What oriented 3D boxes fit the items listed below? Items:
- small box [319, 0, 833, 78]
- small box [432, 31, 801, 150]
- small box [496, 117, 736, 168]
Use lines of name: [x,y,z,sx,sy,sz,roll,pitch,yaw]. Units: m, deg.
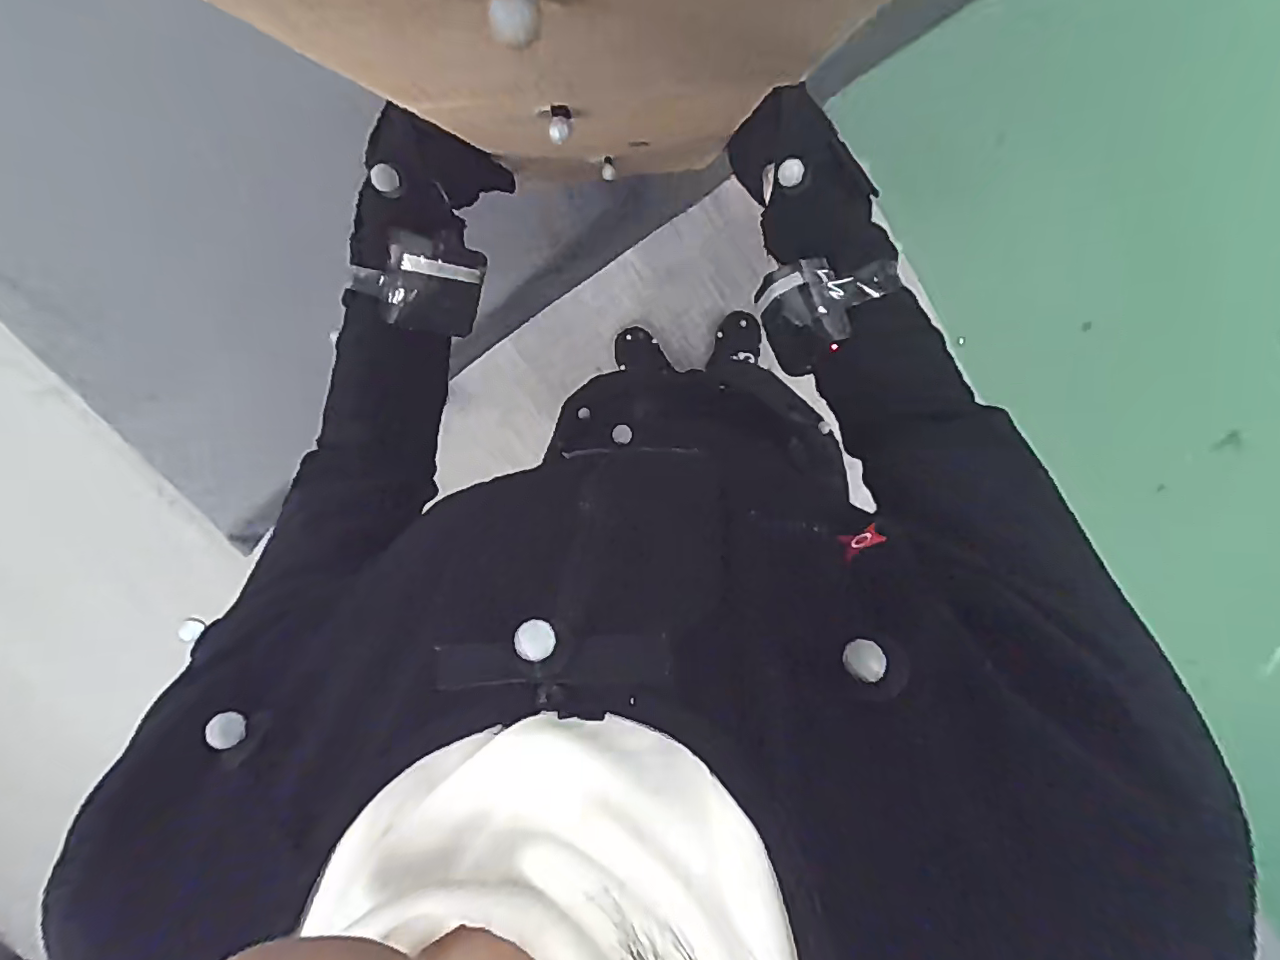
small box: [-0.019,-0.215,0.127,0.179,0.176,0.168,-2,115,1]
small box: [-0.020,-0.289,0.277,0.168,0.176,0.179,-6,115,2]
small box: [-0.022,-0.353,0.425,0.179,0.176,0.168,-5,115,1]
